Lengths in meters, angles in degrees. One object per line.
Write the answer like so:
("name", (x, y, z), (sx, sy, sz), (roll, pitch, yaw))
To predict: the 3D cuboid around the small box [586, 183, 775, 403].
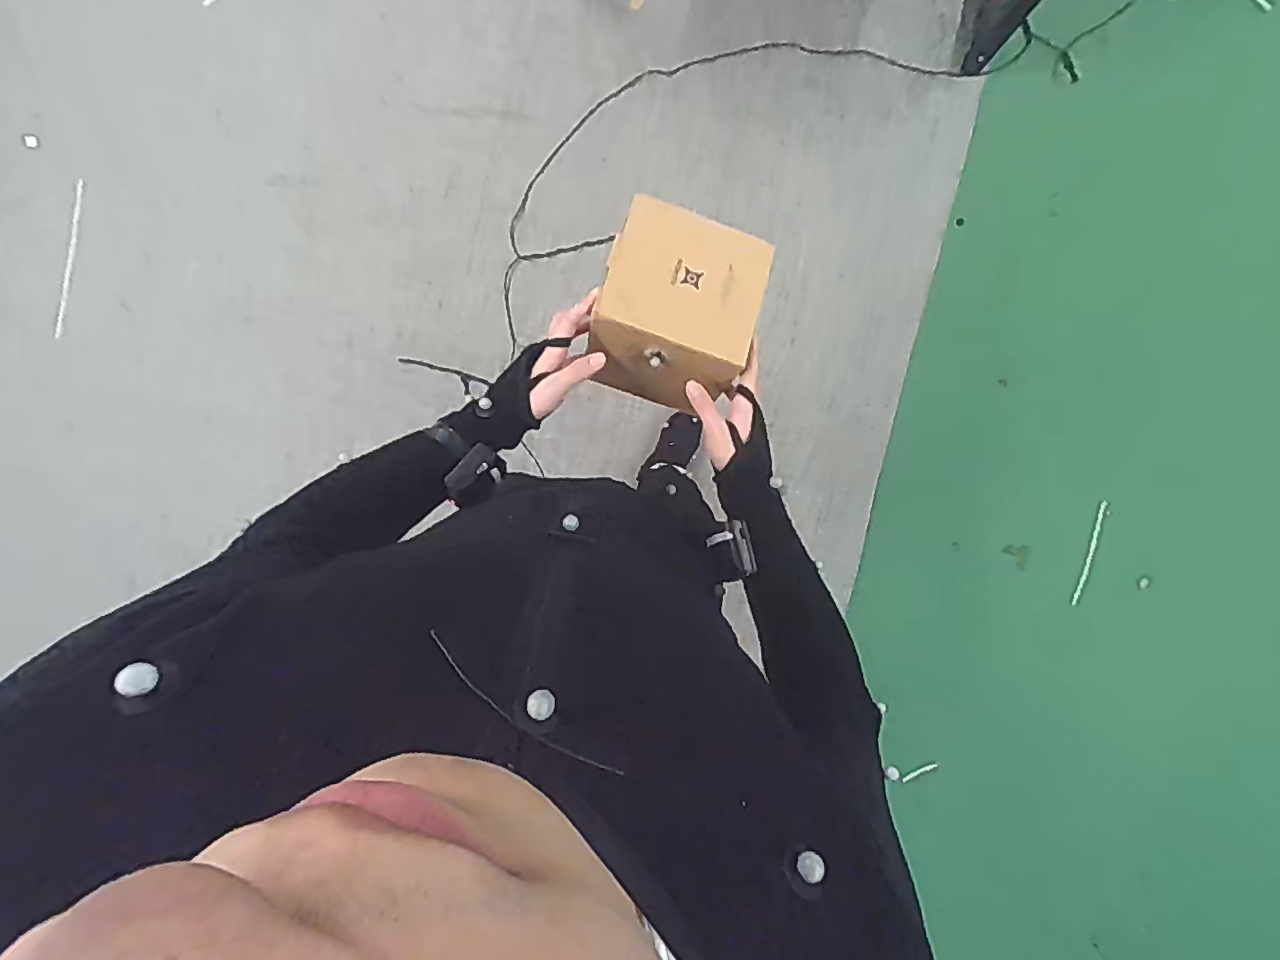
("small box", (0.039, -0.216, 0.670), (0.179, 0.176, 0.168), (19, 74, -5))
